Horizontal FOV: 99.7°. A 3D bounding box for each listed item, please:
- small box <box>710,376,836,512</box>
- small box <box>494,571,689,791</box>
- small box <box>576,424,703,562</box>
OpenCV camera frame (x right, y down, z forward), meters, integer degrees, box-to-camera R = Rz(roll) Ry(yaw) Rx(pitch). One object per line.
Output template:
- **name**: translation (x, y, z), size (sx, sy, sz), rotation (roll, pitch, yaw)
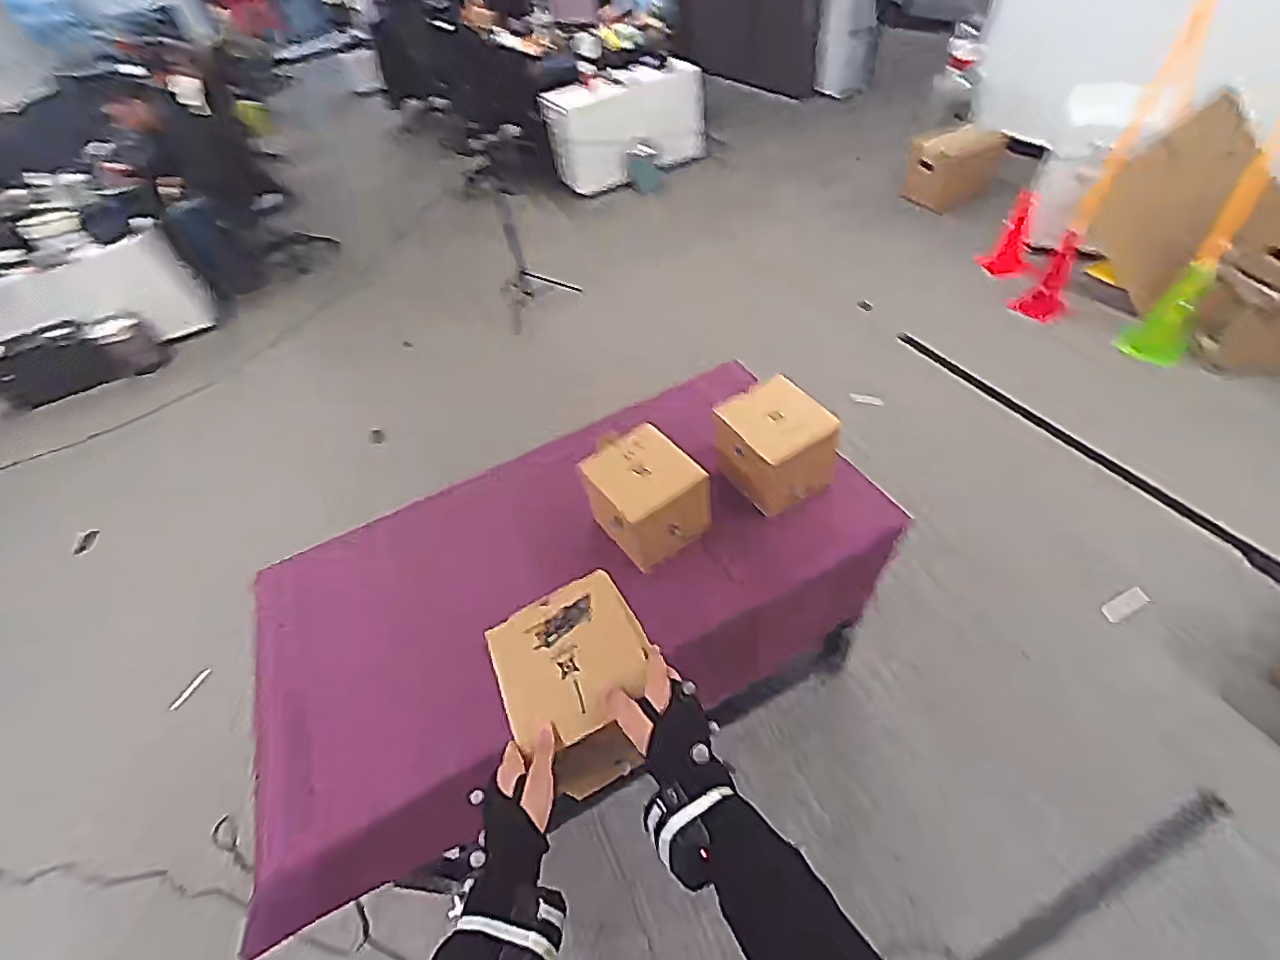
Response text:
- **small box**: translation (0.257, -0.069, 1.073), size (0.168, 0.176, 0.179), rotation (-29, 50, -13)
- **small box**: translation (-0.058, 0.253, 0.679), size (0.168, 0.176, 0.179), rotation (-28, 48, -4)
- **small box**: translation (0.007, 0.032, 1.032), size (0.168, 0.176, 0.179), rotation (-33, 52, -18)
